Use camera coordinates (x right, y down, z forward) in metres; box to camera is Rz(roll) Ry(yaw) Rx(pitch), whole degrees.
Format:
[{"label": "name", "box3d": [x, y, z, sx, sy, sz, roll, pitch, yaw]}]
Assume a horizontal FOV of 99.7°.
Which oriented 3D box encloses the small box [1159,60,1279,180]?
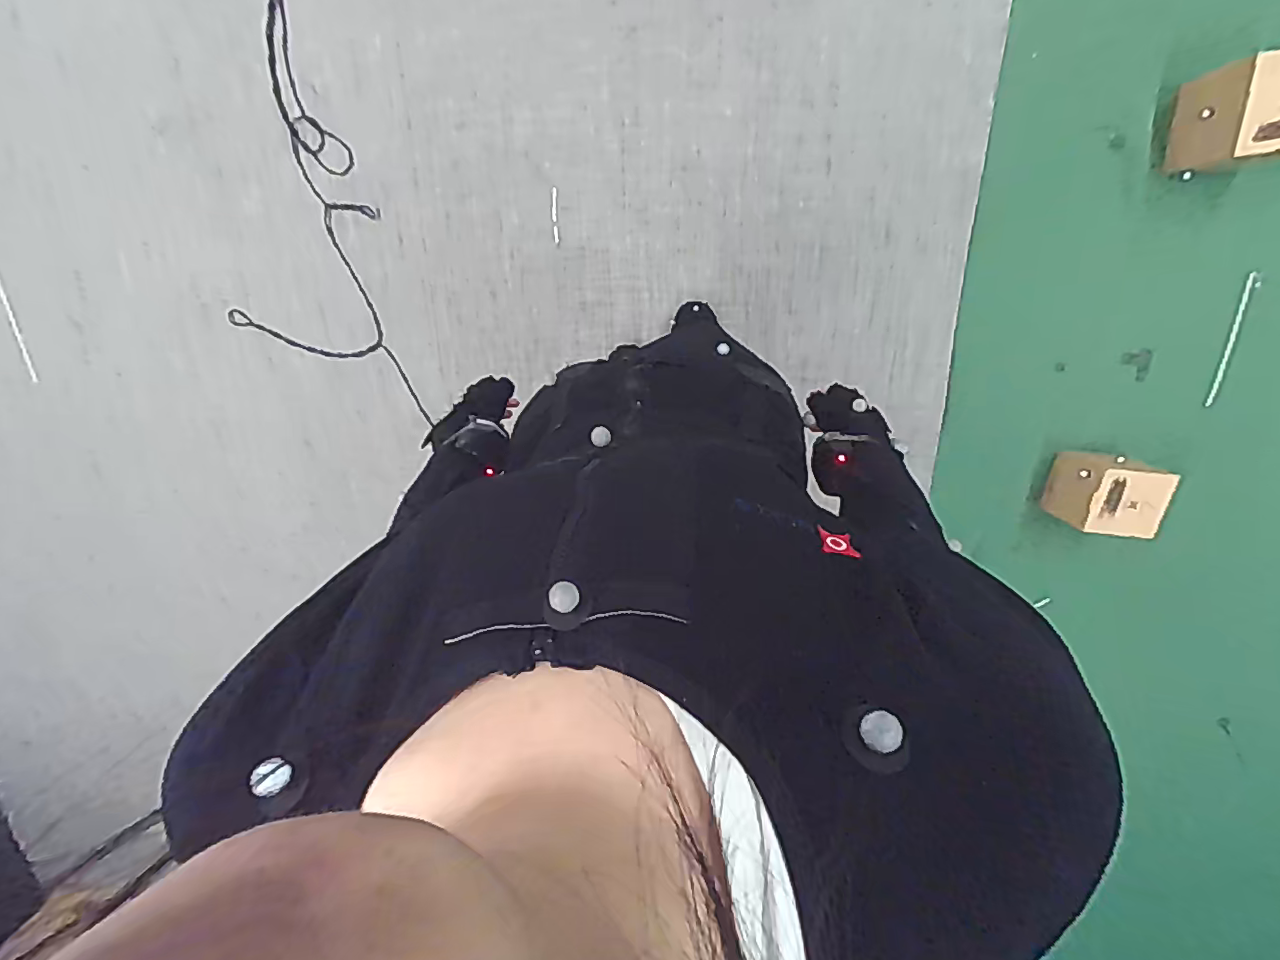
[{"label": "small box", "box3d": [1.237, -0.731, 1.114, 0.168, 0.176, 0.179, -2, 107, 4]}]
